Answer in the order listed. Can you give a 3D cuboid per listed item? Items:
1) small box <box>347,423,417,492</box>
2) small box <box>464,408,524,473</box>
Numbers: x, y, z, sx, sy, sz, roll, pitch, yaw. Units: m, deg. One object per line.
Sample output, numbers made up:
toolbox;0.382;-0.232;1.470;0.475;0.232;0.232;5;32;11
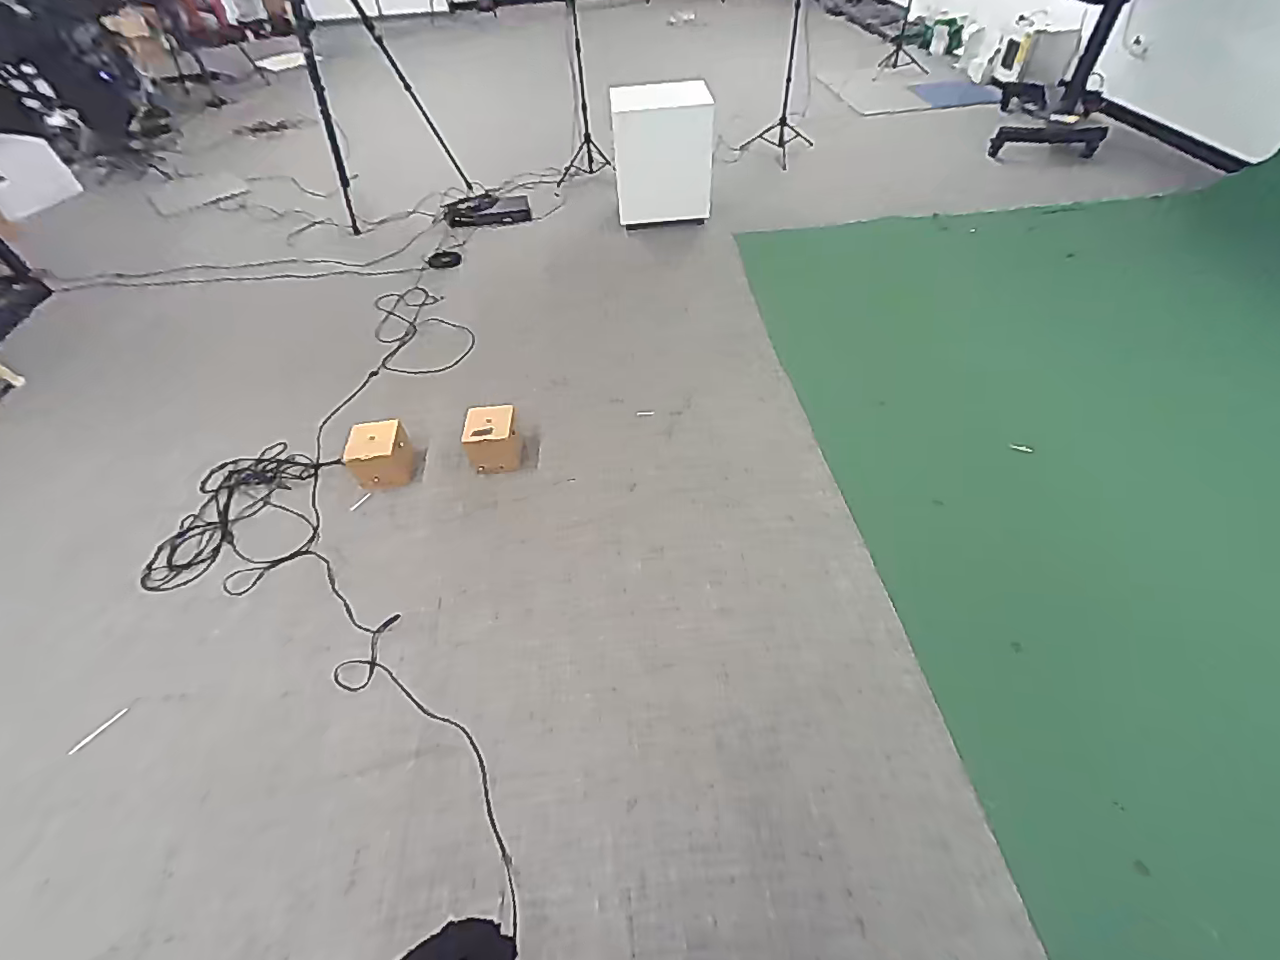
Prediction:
small box;-0.925;-0.080;1.957;0.168;0.176;0.179;-8;50;-2
small box;-0.526;-0.139;1.975;0.168;0.176;0.179;-4;50;1
